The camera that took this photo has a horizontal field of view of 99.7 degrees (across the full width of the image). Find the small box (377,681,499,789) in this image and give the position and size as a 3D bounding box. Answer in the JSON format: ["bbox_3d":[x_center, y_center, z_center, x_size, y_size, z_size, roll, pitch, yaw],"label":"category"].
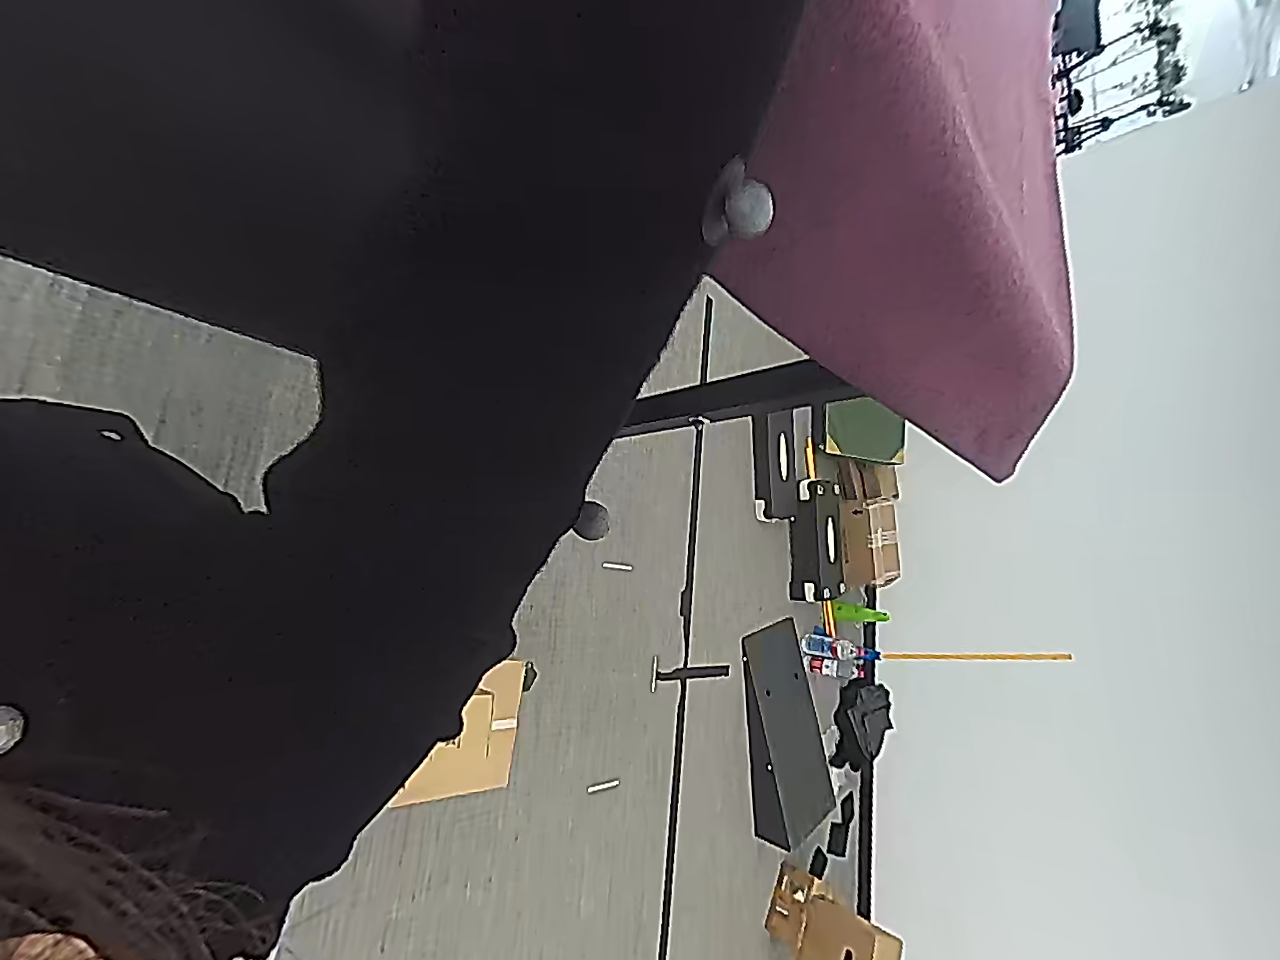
[{"bbox_3d":[-0.431,0.530,1.153,0.179,0.176,0.168,16,73,-43],"label":"small box"}]
